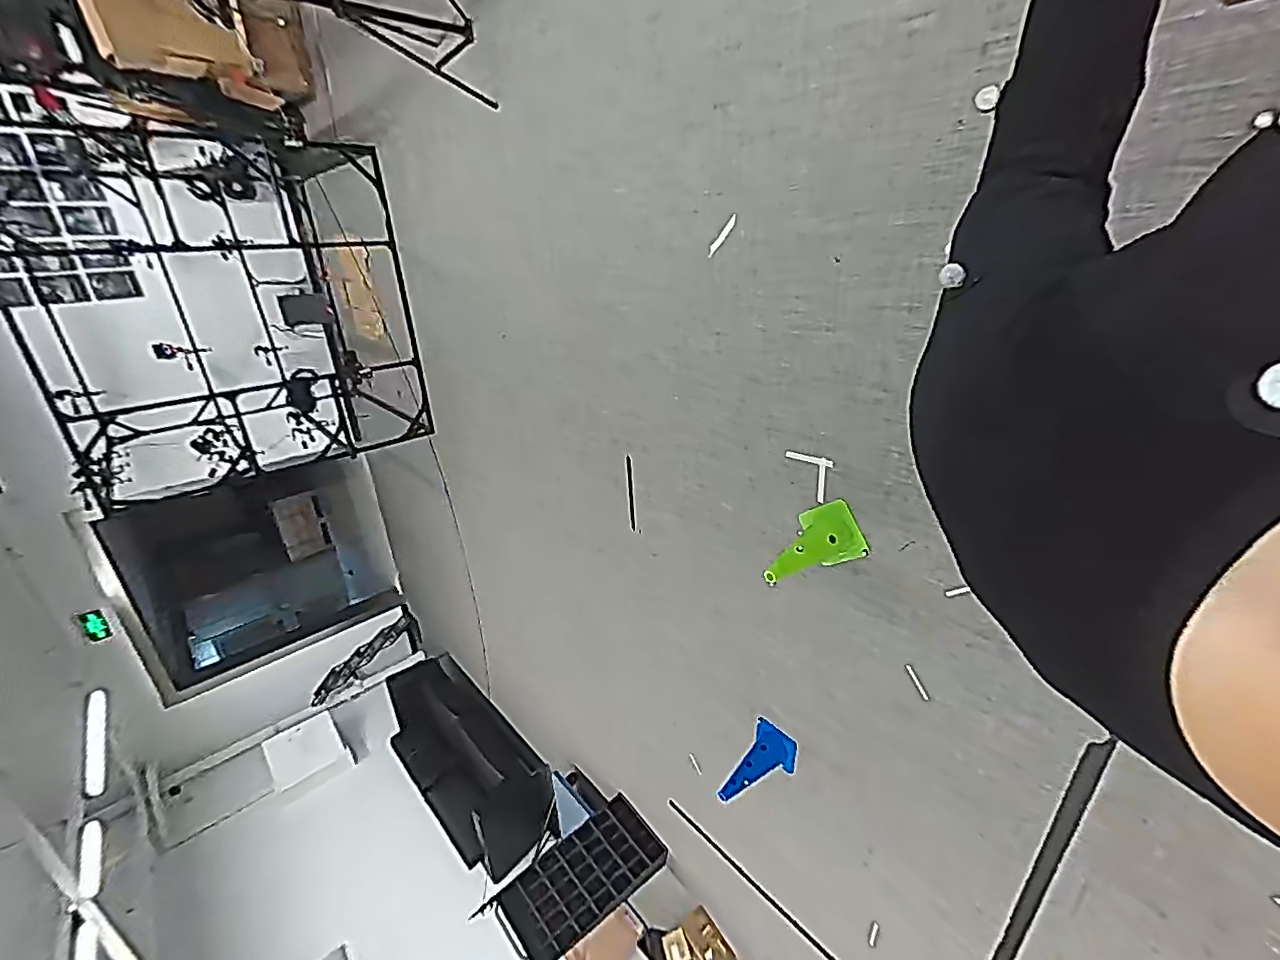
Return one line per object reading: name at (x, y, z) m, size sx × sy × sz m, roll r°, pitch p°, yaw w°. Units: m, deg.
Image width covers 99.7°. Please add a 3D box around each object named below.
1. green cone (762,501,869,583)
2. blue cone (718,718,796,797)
green cone at (0.513, 0.228, 1.696) m, size 0.202 × 0.368 × 0.200 m, roll -35°, pitch 79°, yaw 54°
blue cone at (0.472, 1.205, 2.267) m, size 0.192 × 0.380 × 0.193 m, roll 27°, pitch 127°, yaw 43°
